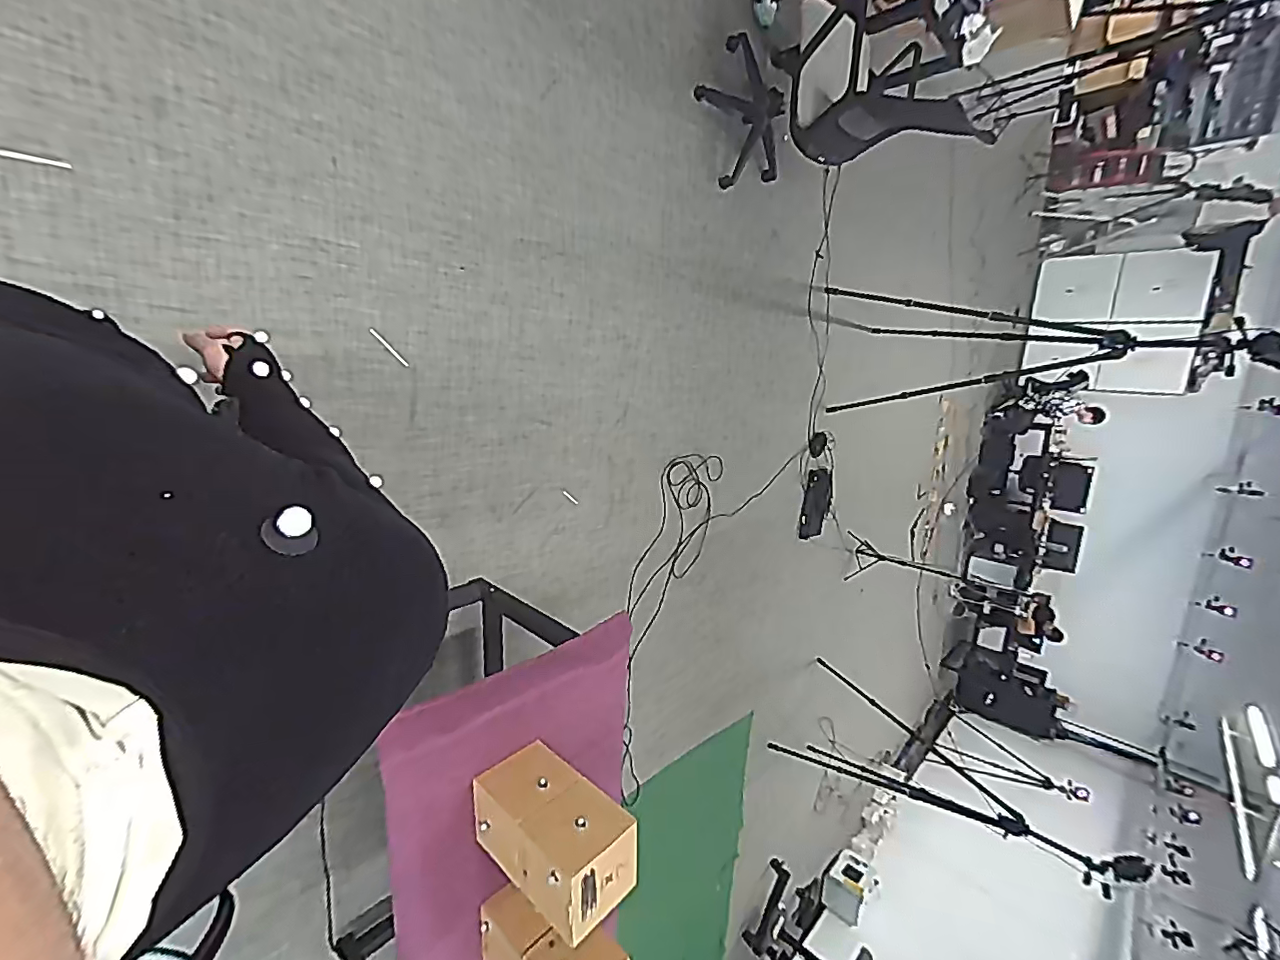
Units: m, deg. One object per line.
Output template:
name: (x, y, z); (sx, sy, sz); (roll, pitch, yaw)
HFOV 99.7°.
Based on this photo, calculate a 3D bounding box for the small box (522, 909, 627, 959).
small box: (-0.145, 1.084, 1.168); (0.168, 0.176, 0.179); (-11, 108, -44)

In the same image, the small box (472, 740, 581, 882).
small box: (-0.250, 0.718, 1.199); (0.179, 0.176, 0.168); (-13, 109, -45)

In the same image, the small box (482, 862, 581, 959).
small box: (-0.260, 1.055, 1.279); (0.179, 0.176, 0.168); (-12, 109, -46)
